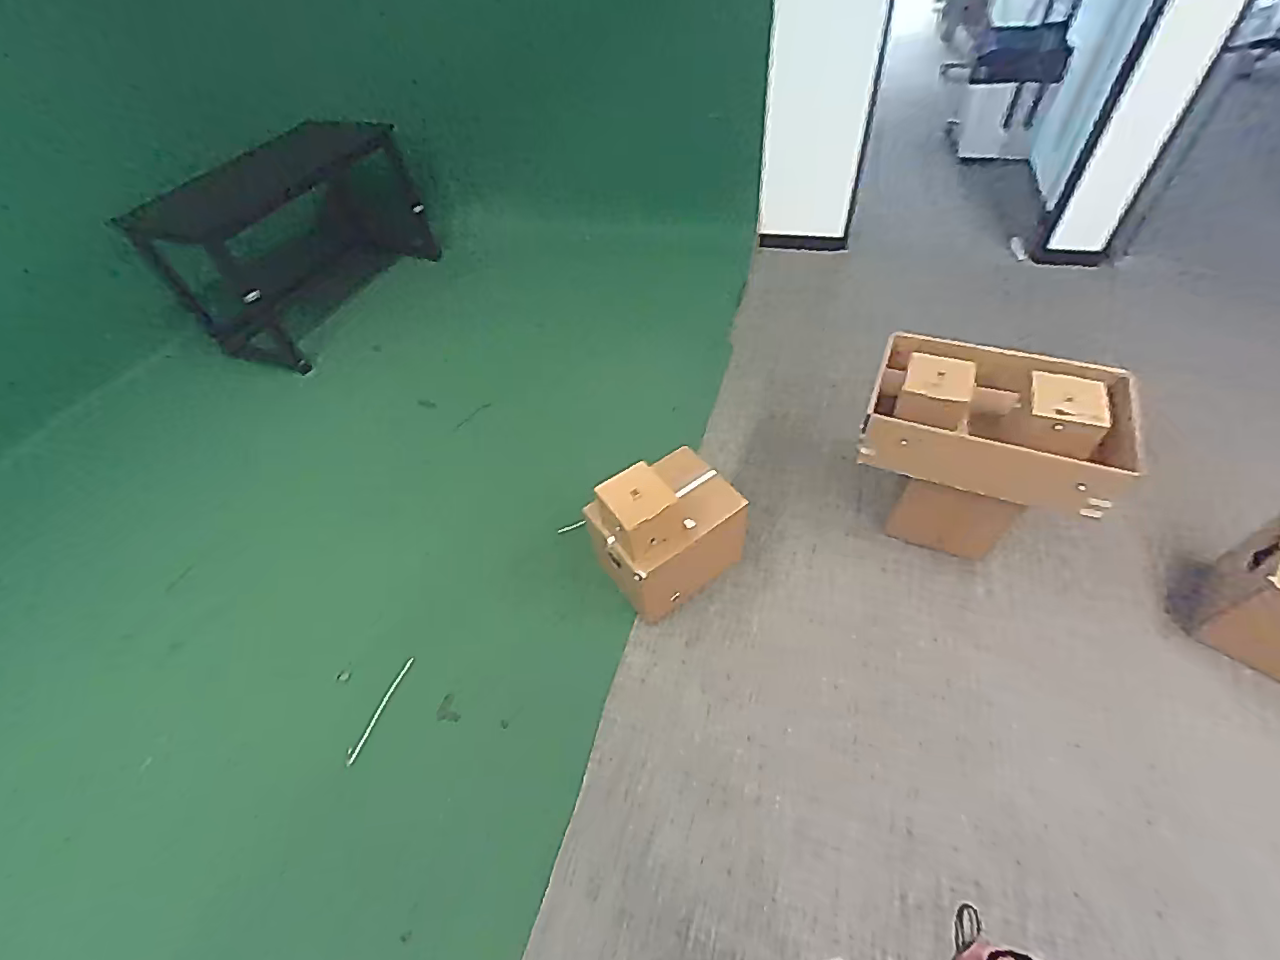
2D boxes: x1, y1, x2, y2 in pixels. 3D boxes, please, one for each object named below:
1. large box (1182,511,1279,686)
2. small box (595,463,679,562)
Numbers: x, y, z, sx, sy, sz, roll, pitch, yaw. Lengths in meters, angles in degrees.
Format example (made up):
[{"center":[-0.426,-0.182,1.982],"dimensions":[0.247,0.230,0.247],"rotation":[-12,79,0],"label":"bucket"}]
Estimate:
[{"center":[1.777,0.357,1.399],"dimensions":[0.408,0.320,0.320],"rotation":[31,60,29],"label":"large box"},{"center":[-0.007,0.093,1.500],"dimensions":[0.168,0.176,0.179],"rotation":[-30,55,-19],"label":"small box"}]
